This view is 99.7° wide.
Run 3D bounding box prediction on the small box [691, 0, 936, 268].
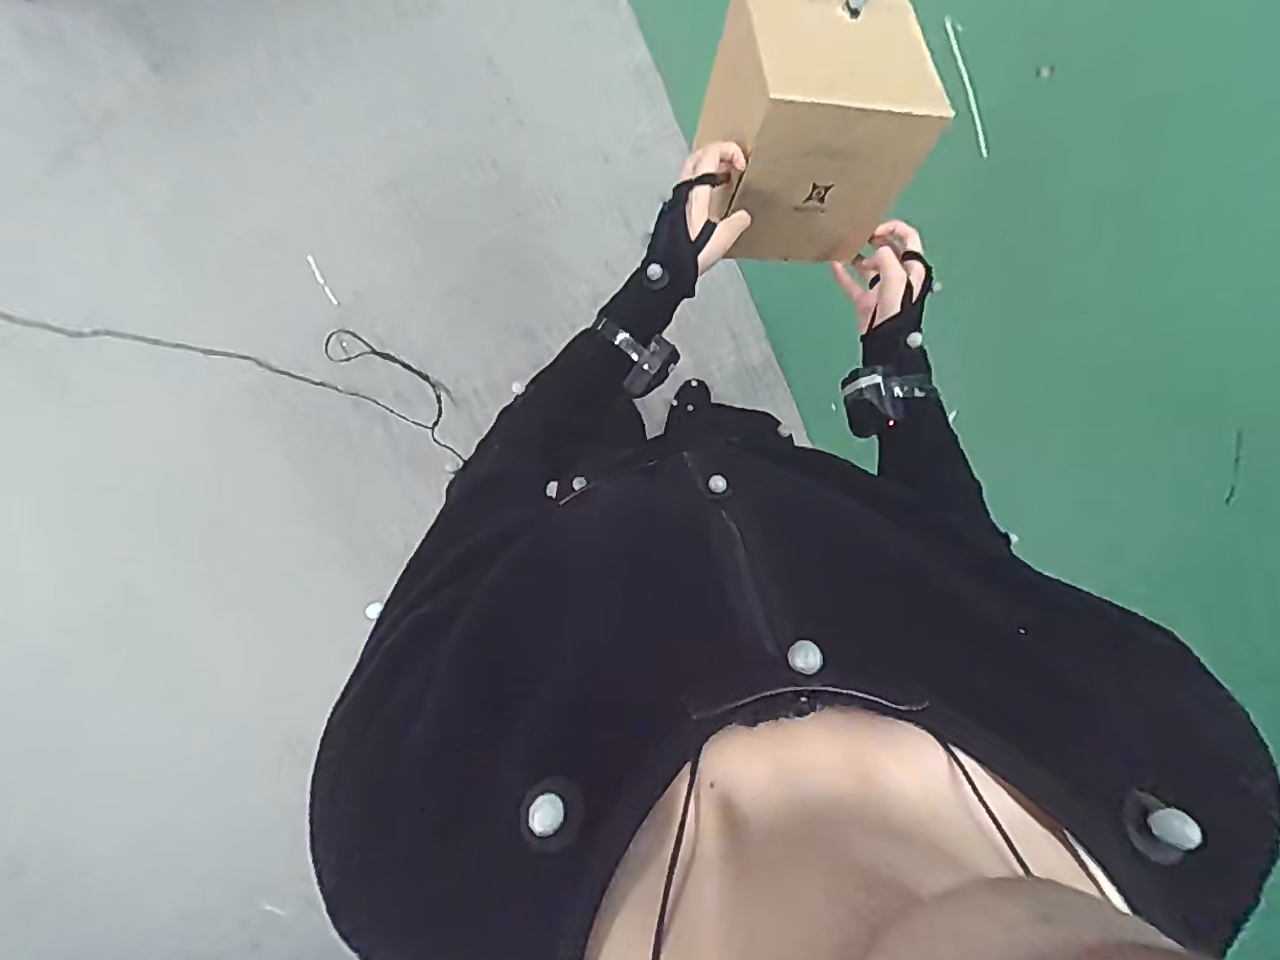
[{"bbox_3d":[0.152,-0.344,0.543,0.168,0.179,0.176,-1,69,-10],"label":"small box"}]
